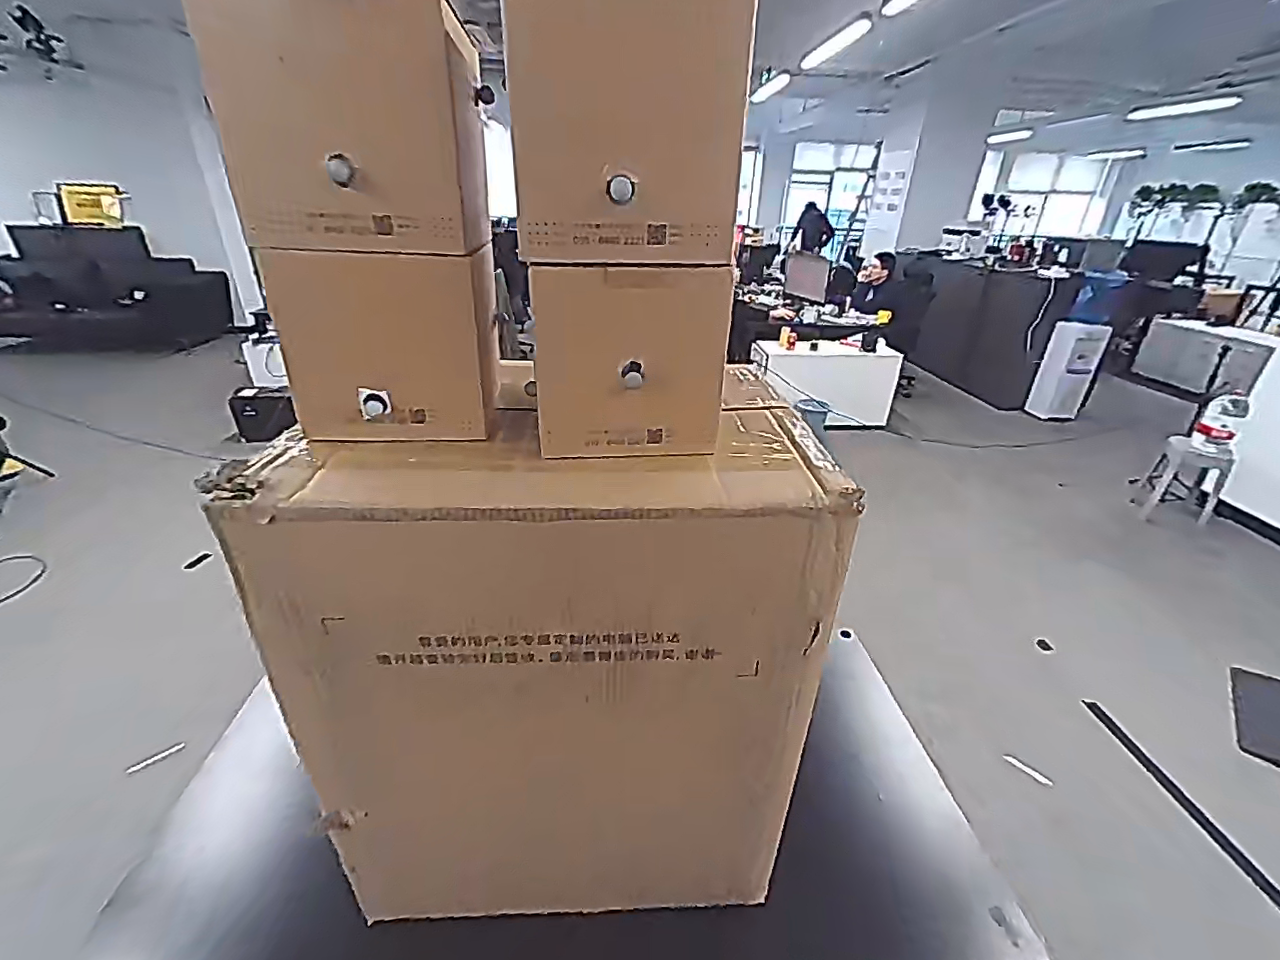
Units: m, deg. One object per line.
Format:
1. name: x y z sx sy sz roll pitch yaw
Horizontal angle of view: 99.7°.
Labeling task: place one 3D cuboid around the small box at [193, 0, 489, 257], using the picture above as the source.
1. small box: -0.226 -0.291 0.461 0.168 0.176 0.179 -1 28 -7

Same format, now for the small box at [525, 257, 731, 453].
1. small box: -0.016 -0.133 0.530 0.168 0.176 0.179 -2 29 -6

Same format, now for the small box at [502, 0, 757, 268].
1. small box: -0.014 -0.276 0.447 0.168 0.176 0.179 -2 29 -5

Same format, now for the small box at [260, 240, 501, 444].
1. small box: -0.232 -0.146 0.539 0.168 0.176 0.179 -2 29 -9
